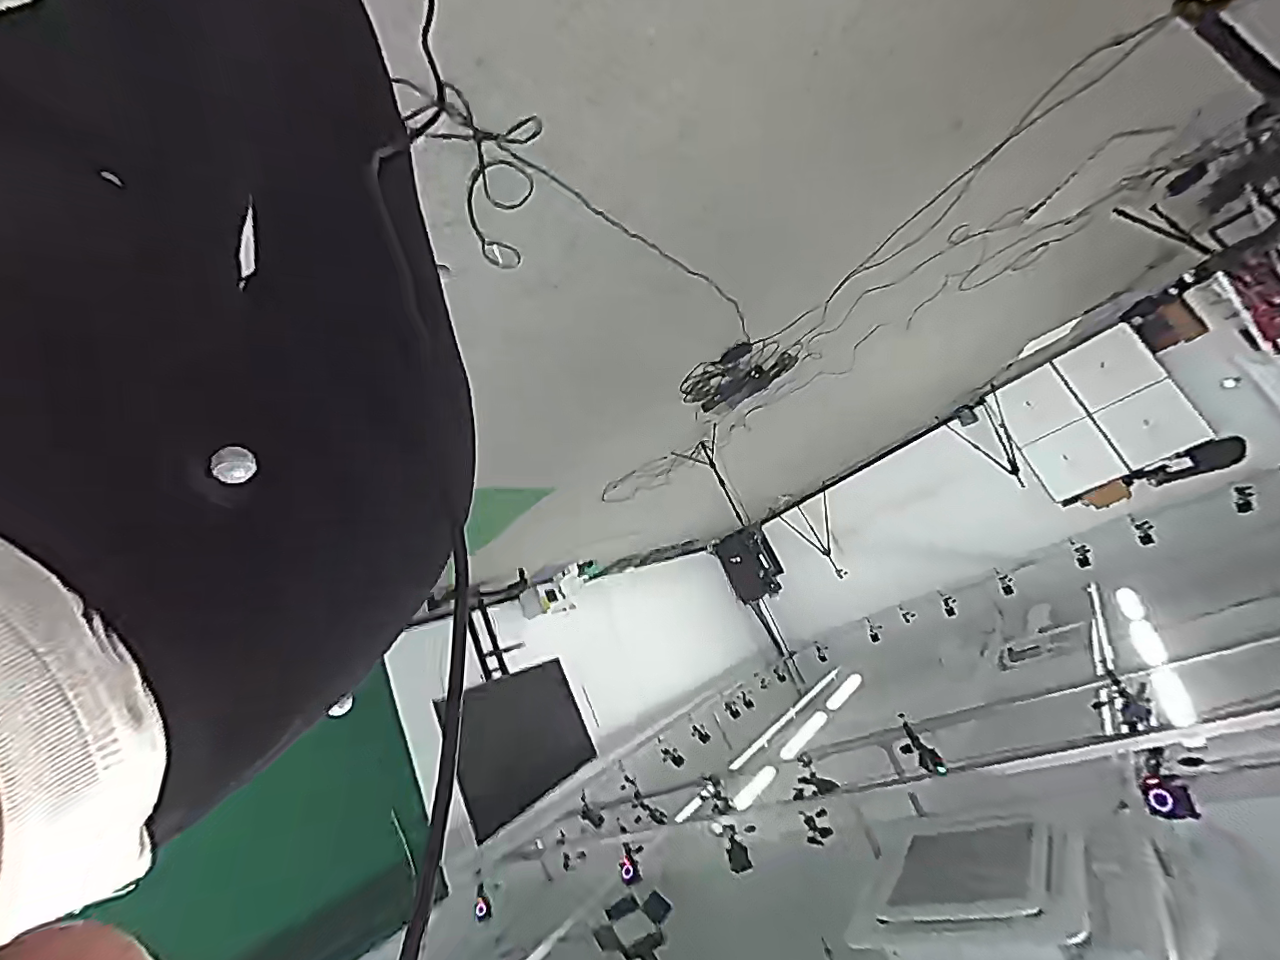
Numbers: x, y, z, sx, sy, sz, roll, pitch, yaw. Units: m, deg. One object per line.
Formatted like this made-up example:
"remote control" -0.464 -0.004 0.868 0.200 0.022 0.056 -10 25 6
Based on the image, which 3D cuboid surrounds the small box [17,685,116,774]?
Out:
"small box" -1.701 0.734 1.602 0.168 0.176 0.179 -32 163 30
